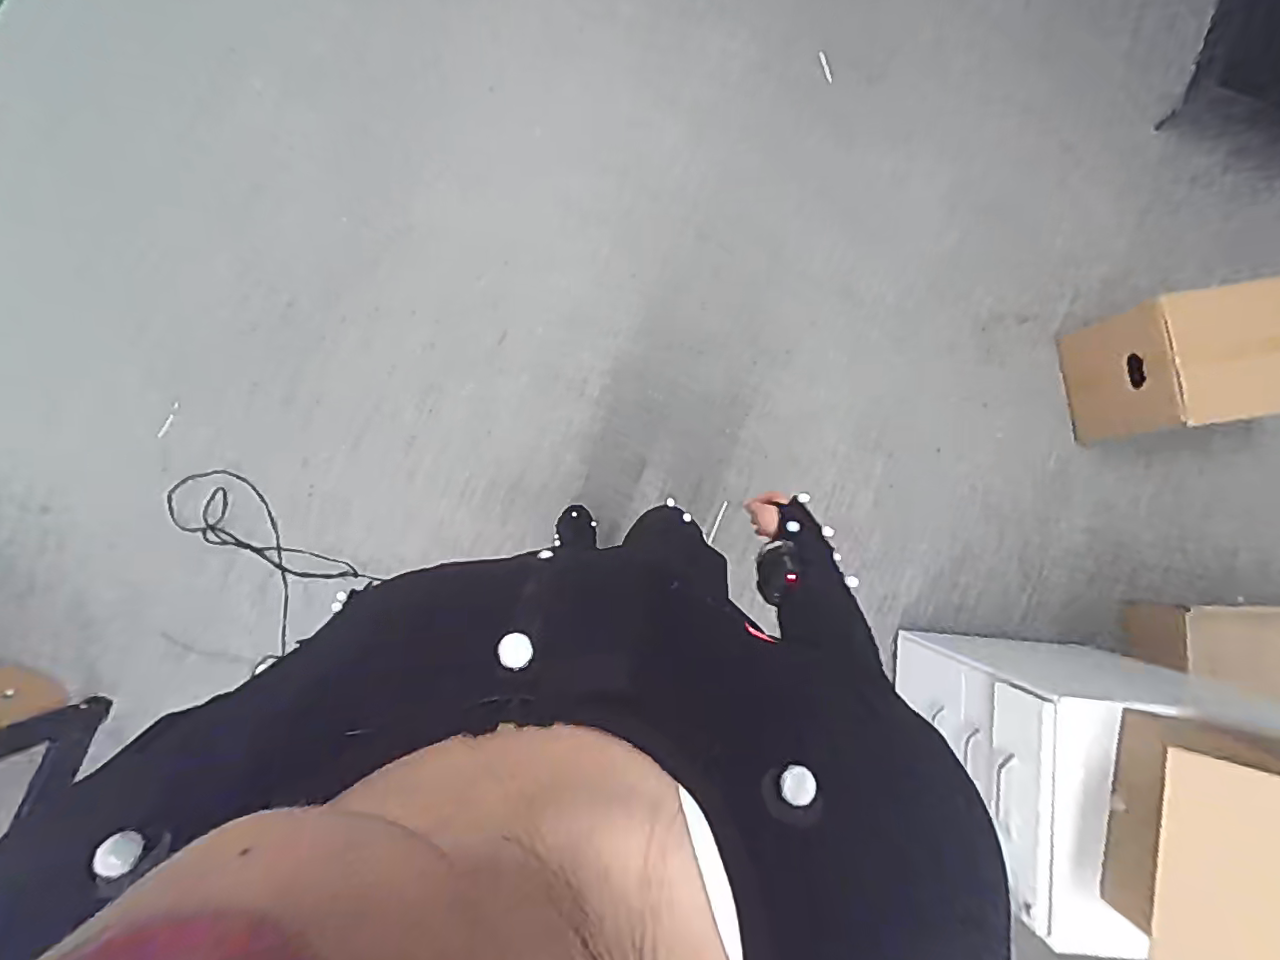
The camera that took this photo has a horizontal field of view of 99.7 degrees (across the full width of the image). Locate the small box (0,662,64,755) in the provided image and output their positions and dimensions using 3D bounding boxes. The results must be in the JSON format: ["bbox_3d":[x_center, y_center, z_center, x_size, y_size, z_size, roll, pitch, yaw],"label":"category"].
[{"bbox_3d":[-1.639,0.586,1.357,0.179,0.176,0.168,35,86,1],"label":"small box"}]
